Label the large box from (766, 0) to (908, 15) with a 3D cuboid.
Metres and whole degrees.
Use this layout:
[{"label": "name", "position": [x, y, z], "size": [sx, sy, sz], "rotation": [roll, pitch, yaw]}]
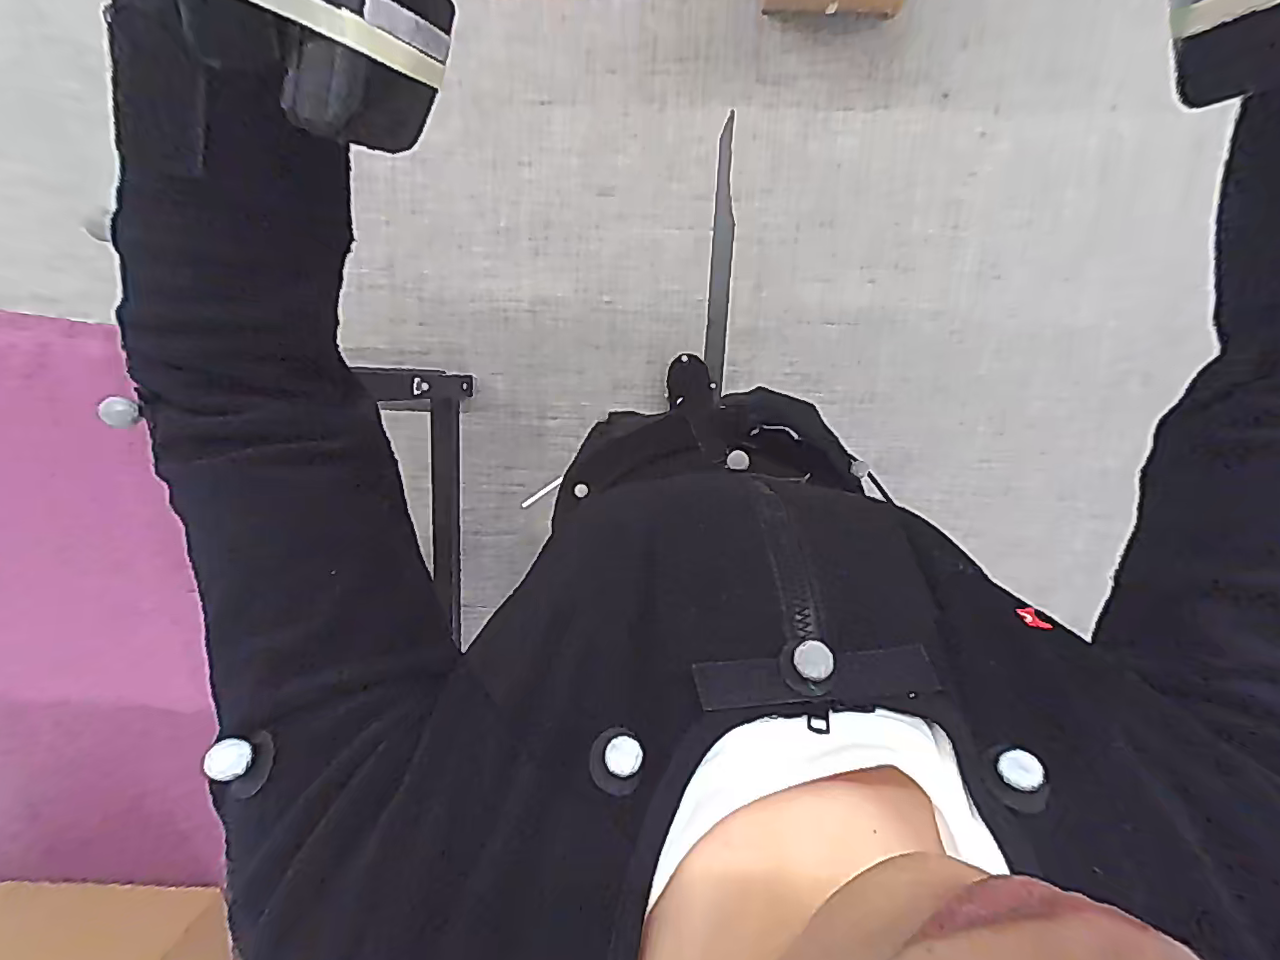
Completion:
[{"label": "large box", "position": [0.429, -1.206, 1.021], "size": [0.320, 0.320, 0.408], "rotation": [1, 100, 2]}]
